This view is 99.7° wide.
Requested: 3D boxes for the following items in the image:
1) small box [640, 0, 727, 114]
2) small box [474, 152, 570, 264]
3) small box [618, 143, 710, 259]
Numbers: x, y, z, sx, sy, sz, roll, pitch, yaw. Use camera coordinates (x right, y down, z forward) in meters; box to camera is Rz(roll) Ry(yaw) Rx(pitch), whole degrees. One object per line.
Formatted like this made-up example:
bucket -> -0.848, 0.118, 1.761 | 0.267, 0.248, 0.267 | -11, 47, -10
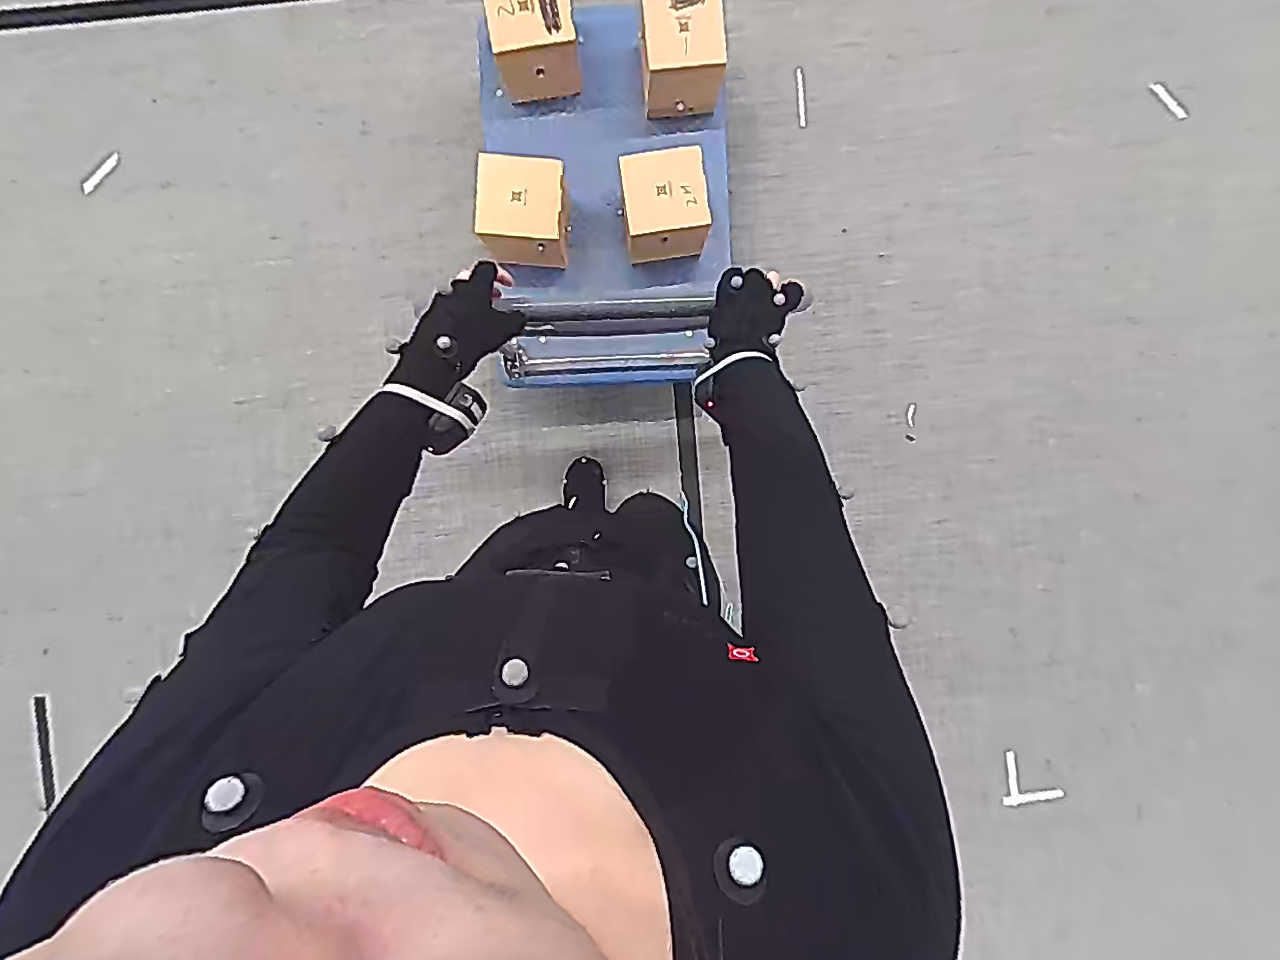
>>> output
small box -> 0.088, -0.943, 1.181 | 0.168, 0.176, 0.179 | -6, 94, 0
small box -> -0.254, -0.590, 1.192 | 0.179, 0.176, 0.168 | 3, 92, -3
small box -> 0.050, -0.606, 1.196 | 0.179, 0.176, 0.168 | -8, 93, -1
